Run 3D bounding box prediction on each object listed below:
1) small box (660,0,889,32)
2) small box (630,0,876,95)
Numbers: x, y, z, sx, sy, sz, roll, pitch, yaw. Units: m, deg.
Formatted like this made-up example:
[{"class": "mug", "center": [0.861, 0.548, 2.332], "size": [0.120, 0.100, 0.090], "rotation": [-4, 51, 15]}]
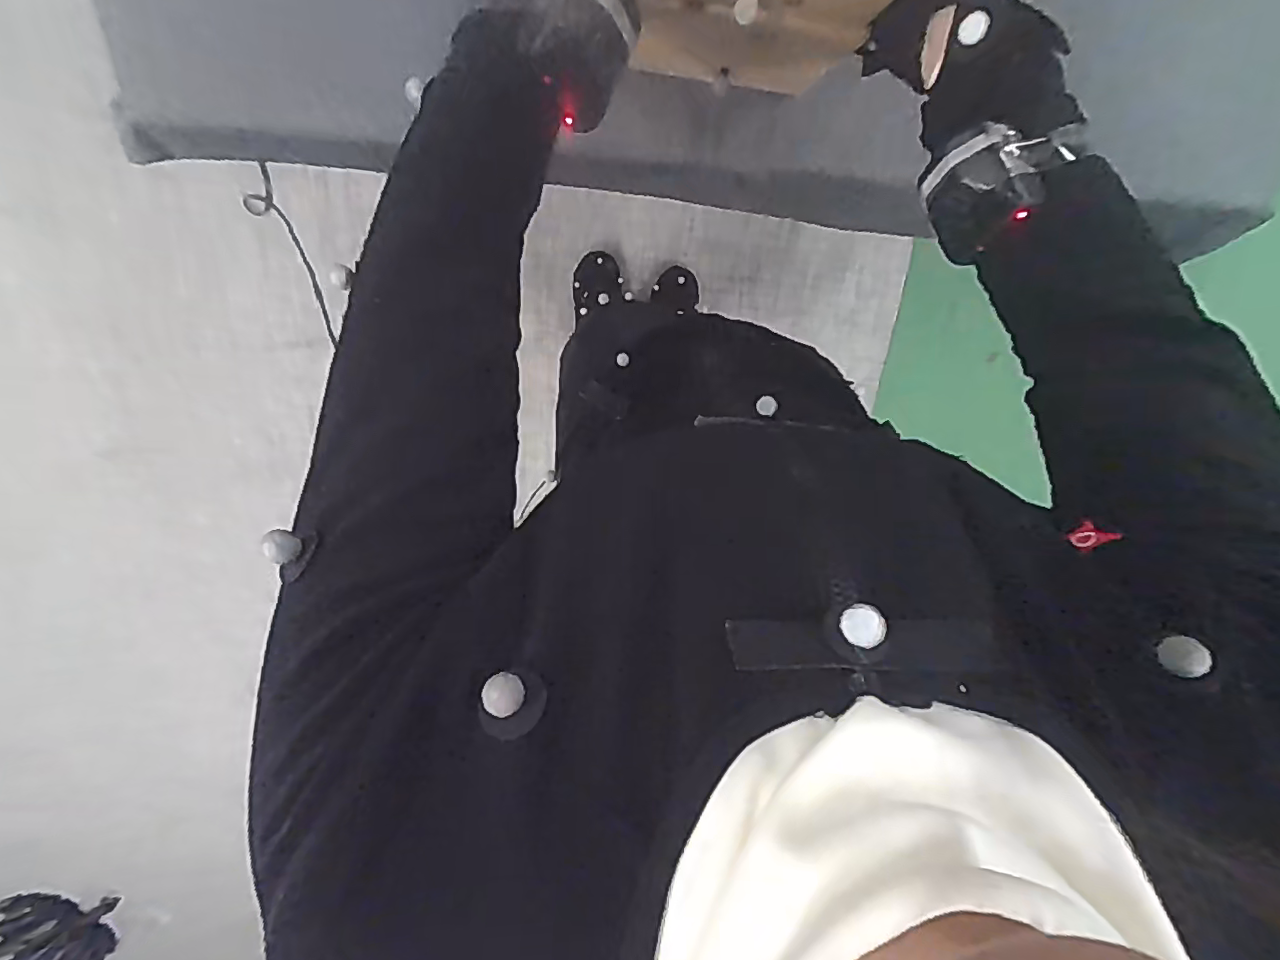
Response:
[{"class": "small box", "center": [0.092, -0.381, 0.282], "size": [0.168, 0.176, 0.179], "rotation": [5, 113, -3]}, {"class": "small box", "center": [0.089, -0.435, 0.436], "size": [0.179, 0.176, 0.168], "rotation": [5, 112, -5]}]
